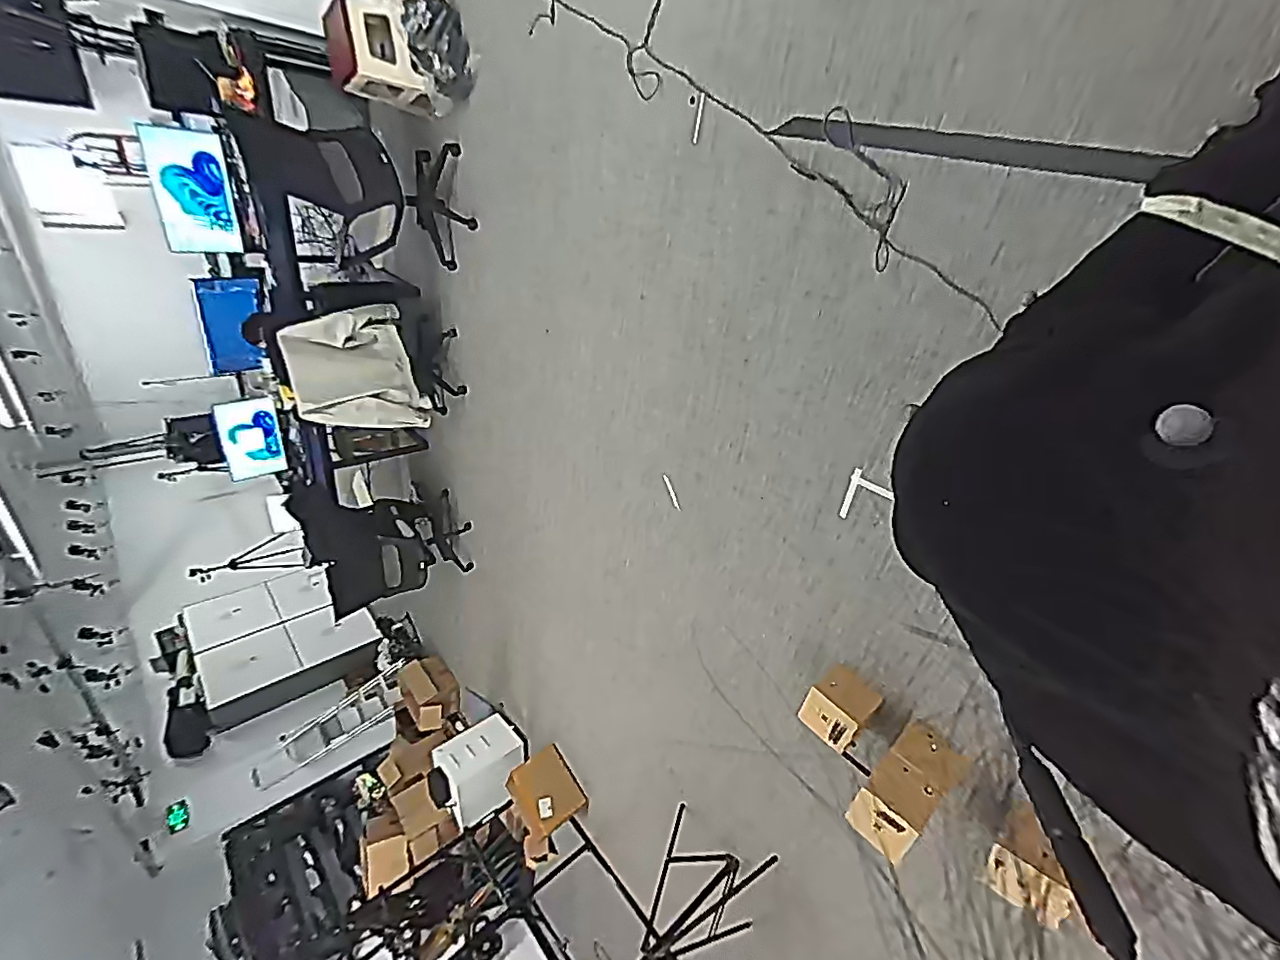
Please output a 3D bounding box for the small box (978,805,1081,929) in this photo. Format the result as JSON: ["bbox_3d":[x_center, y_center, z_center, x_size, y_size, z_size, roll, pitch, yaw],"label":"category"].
[{"bbox_3d":[1.056,1.035,1.462,0.179,0.176,0.168,21,120,42],"label":"small box"}]

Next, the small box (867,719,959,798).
[{"bbox_3d":[0.835,0.877,1.649,0.168,0.176,0.179,37,130,33],"label":"small box"}]

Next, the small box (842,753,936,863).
[{"bbox_3d":[0.716,0.929,1.548,0.168,0.176,0.179,34,129,36],"label":"small box"}]
